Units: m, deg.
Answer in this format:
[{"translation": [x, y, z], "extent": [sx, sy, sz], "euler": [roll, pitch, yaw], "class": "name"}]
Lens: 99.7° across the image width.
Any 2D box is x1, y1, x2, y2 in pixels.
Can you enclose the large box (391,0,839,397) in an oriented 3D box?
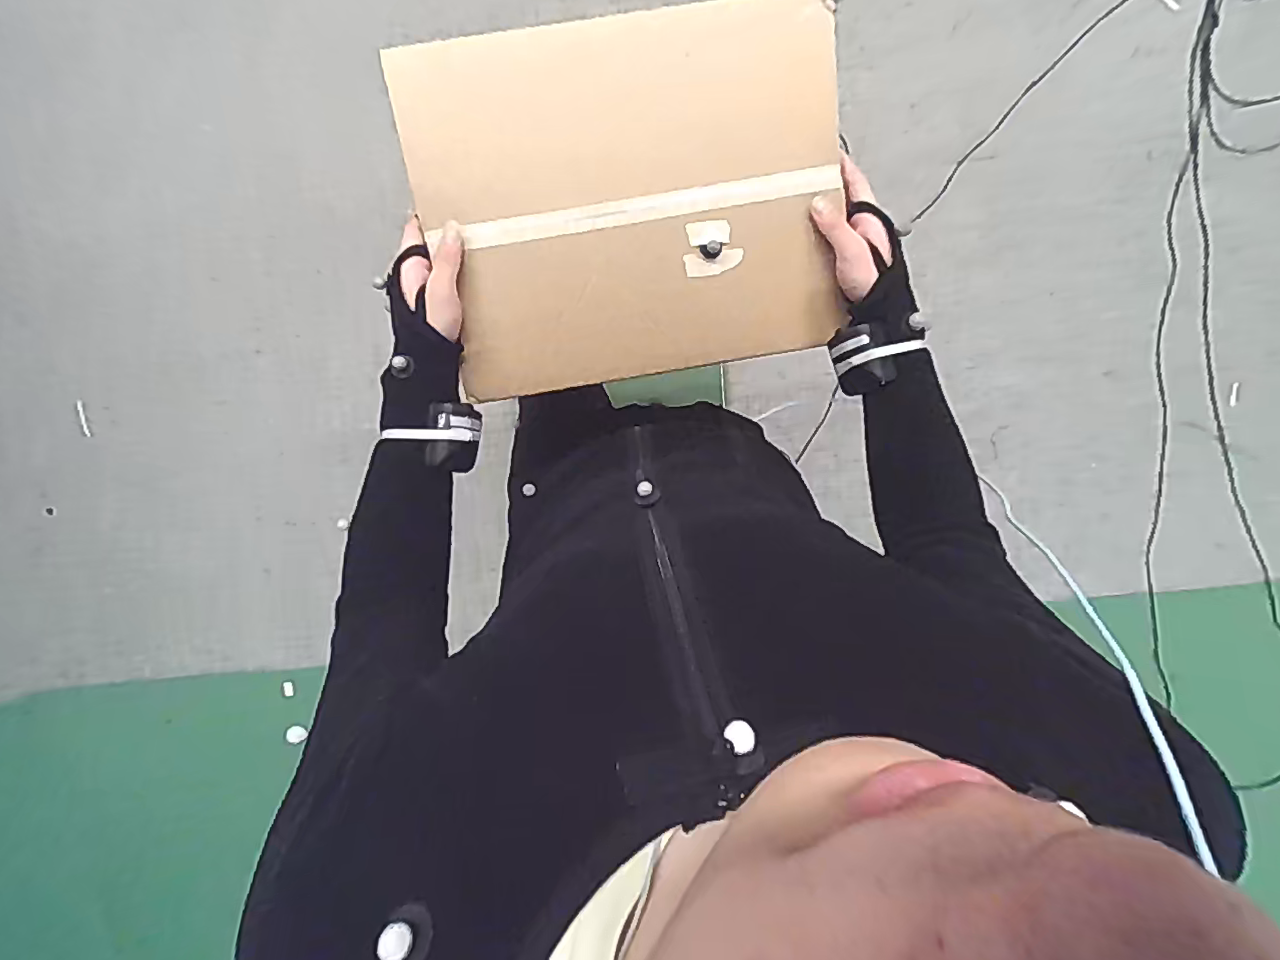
[{"translation": [-0.021, -0.305, 0.675], "extent": [0.408, 0.320, 0.320], "euler": [-10, 107, -2], "class": "large box"}]
